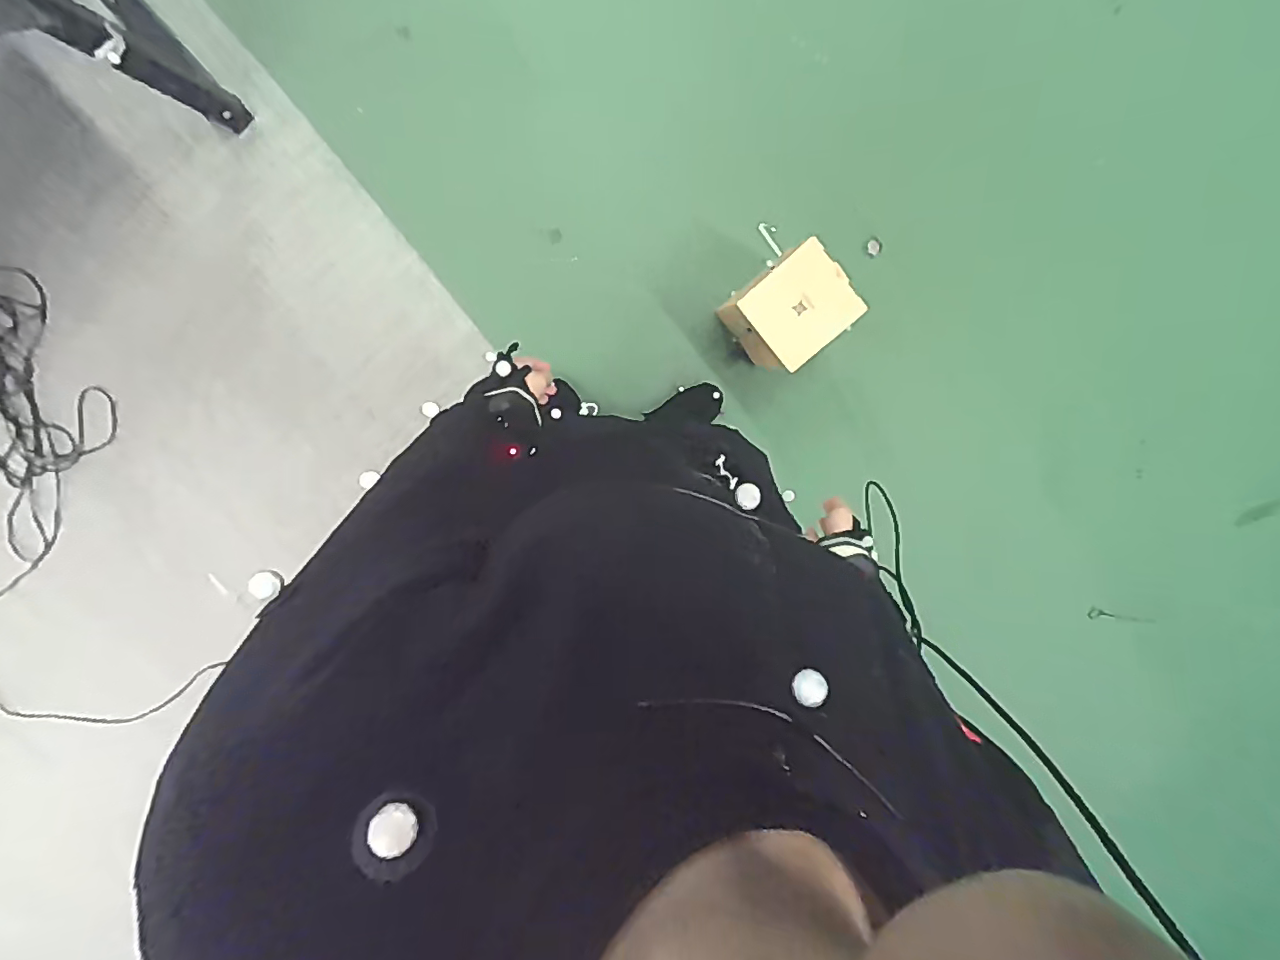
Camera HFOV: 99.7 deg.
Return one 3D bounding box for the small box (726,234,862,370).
[{"bbox_3d":[0.280,-0.332,1.034,0.179,0.176,0.168,-41,101,9],"label":"small box"}]
